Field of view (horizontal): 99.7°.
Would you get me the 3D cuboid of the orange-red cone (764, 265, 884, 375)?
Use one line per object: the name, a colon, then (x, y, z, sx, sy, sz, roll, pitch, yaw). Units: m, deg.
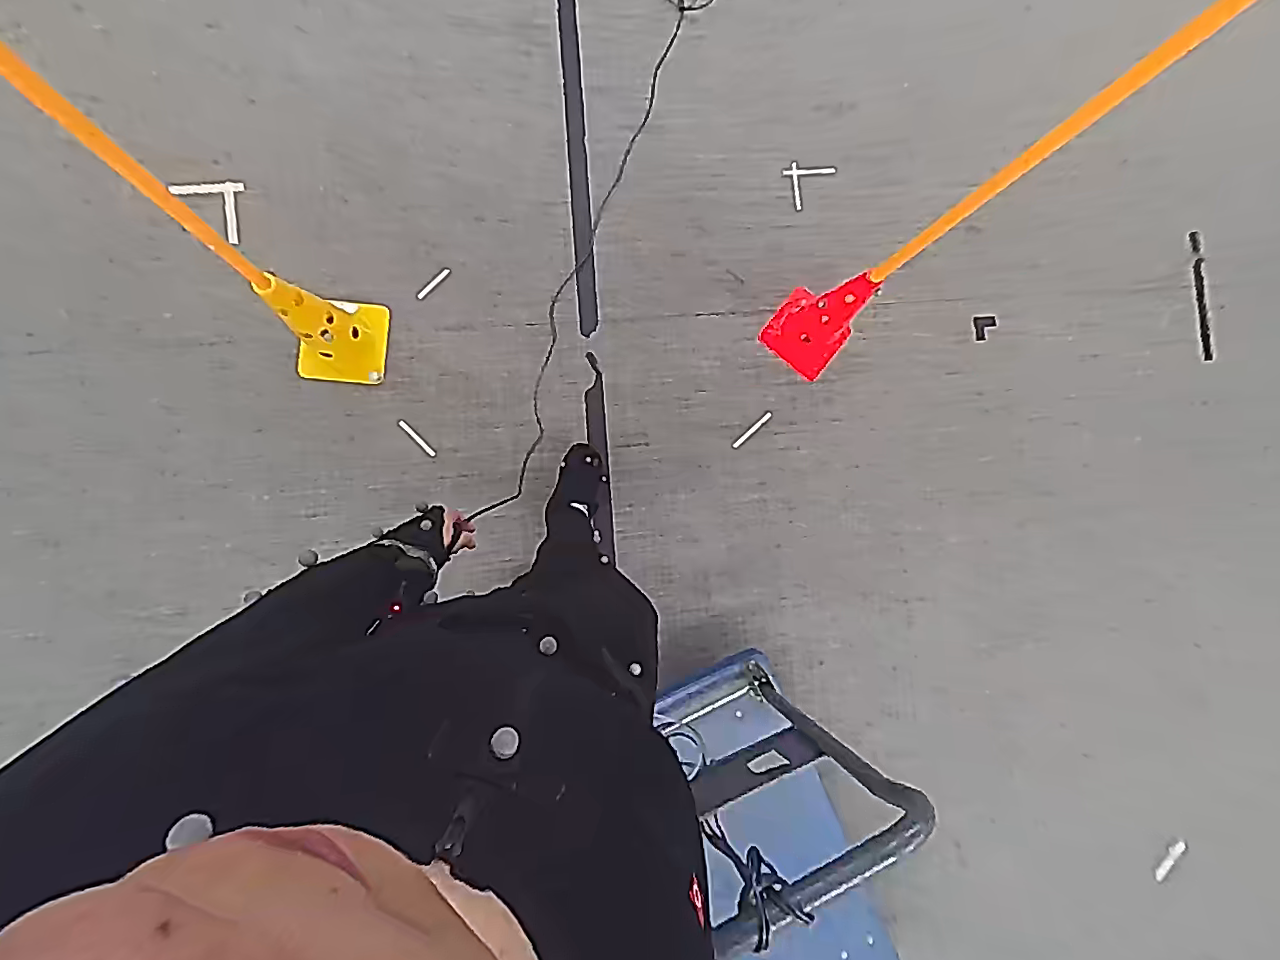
orange-red cone: (0.474, -0.415, 1.292, 0.198, 0.360, 0.199, 41, 84, -2)
